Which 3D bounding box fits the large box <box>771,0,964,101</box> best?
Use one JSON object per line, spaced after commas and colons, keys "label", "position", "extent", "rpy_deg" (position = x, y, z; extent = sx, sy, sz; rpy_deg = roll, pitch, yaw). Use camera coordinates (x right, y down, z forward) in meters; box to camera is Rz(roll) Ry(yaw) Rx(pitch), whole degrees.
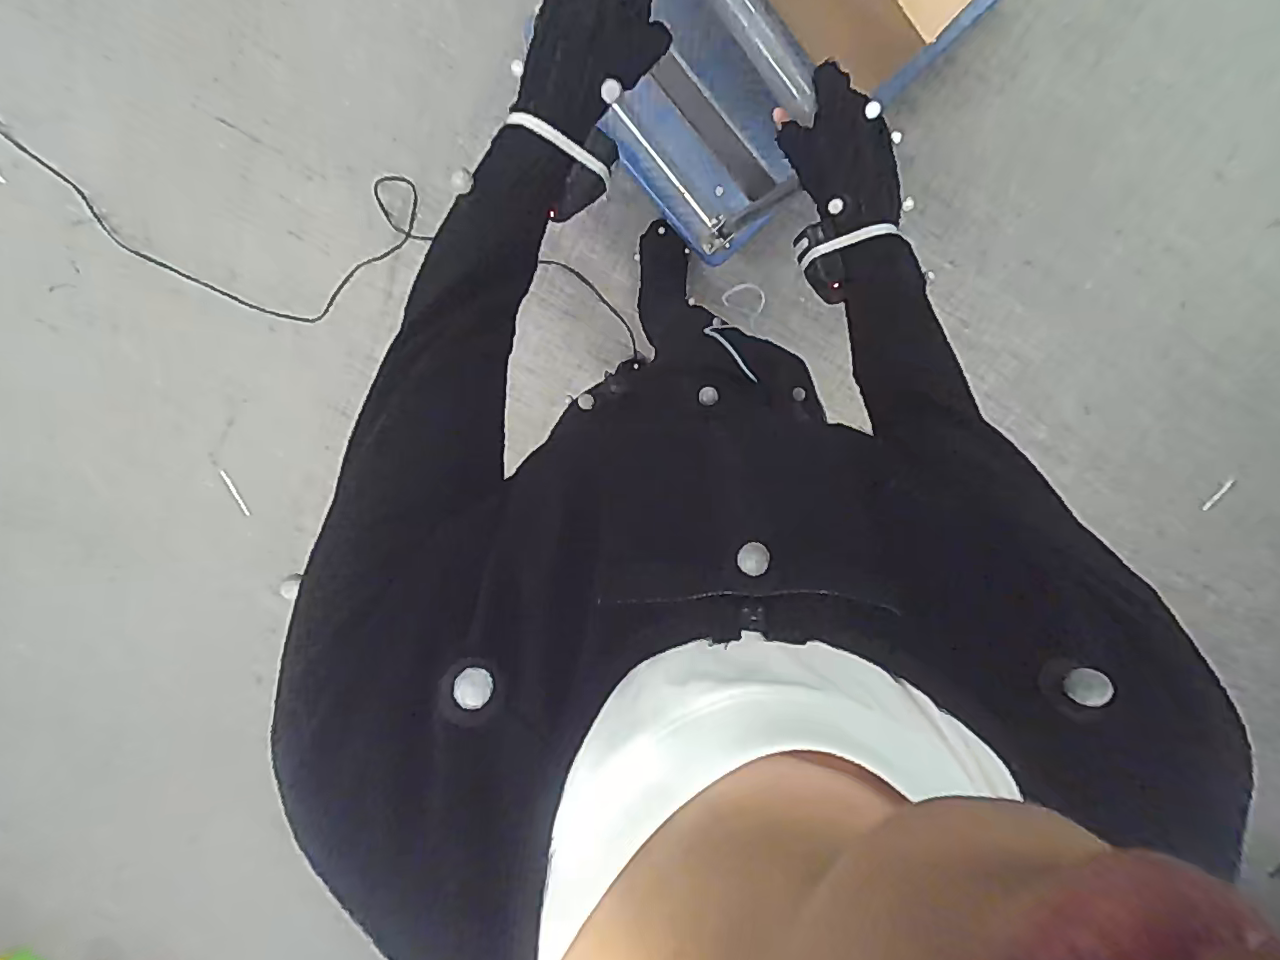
{"label": "large box", "position": [0.378, -0.919, 0.844], "extent": [0.408, 0.320, 0.320], "rpy_deg": [43, 104, -13]}
